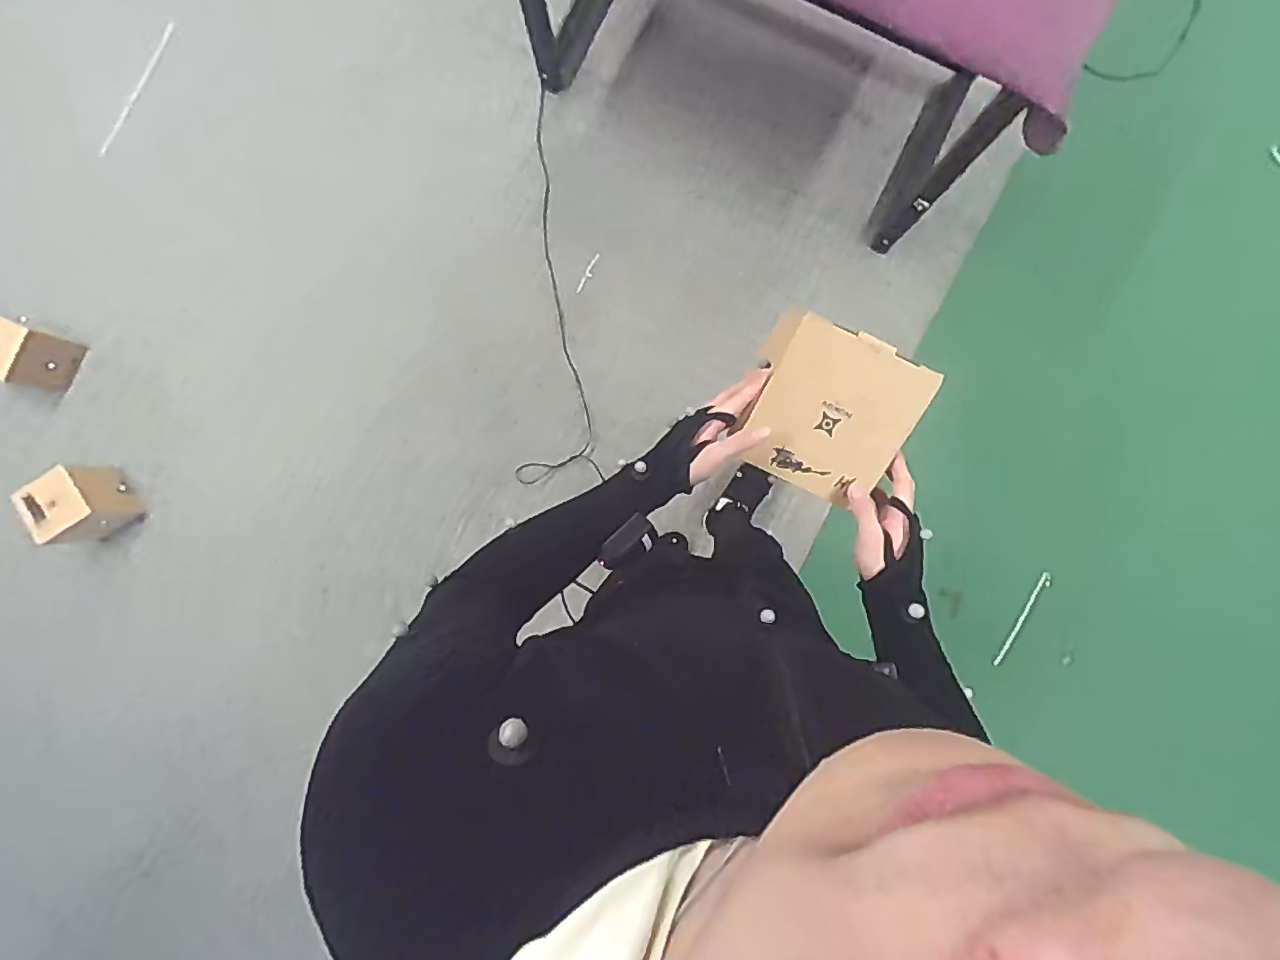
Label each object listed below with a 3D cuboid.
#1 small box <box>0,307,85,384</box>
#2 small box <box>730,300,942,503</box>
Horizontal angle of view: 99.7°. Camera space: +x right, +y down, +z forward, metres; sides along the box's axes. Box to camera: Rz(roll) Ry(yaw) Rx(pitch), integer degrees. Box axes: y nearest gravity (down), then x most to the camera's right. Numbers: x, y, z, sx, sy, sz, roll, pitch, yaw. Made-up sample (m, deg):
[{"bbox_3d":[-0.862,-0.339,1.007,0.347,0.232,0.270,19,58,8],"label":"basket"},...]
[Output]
[{"bbox_3d":[-1.814,-0.396,1.587,0.179,0.176,0.168,25,88,1],"label":"small box"},{"bbox_3d":[0.217,-0.105,0.662,0.168,0.176,0.179,25,110,-1],"label":"small box"}]
